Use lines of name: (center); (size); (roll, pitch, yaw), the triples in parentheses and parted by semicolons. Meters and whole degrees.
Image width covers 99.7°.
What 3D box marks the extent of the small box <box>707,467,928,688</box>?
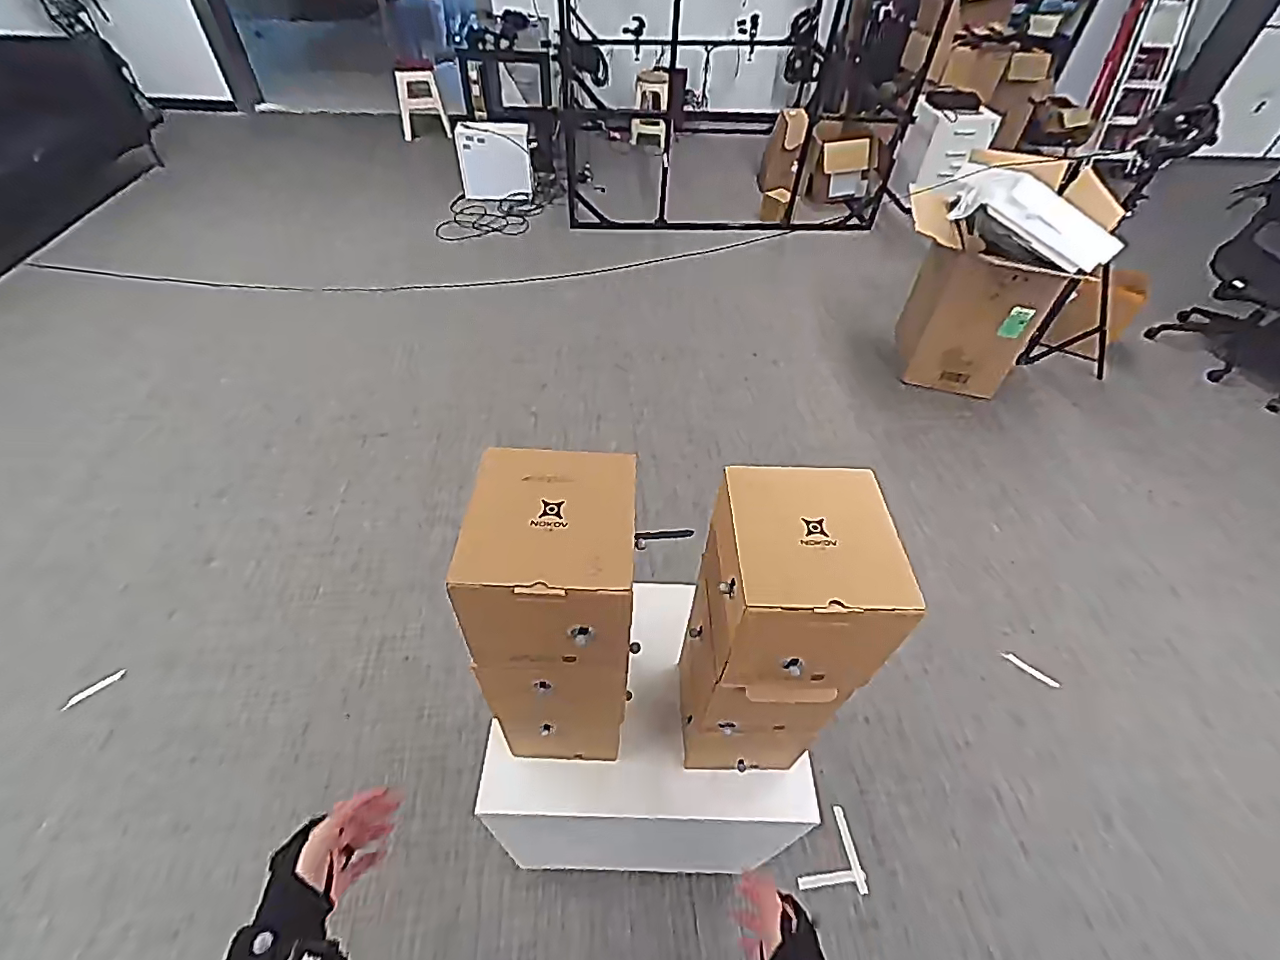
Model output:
small box: (0.170, 0.107, 0.590); (0.168, 0.176, 0.179); (1, 48, -2)

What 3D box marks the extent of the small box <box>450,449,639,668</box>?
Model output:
small box: (-0.089, 0.089, 0.589); (0.168, 0.176, 0.179); (3, 47, -2)

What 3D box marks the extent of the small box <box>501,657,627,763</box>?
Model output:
small box: (-0.106, 0.311, 0.830); (0.168, 0.176, 0.179); (3, 47, -1)

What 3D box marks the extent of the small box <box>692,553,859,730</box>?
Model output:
small box: (0.162, 0.215, 0.711); (0.168, 0.176, 0.179); (1, 47, -2)
